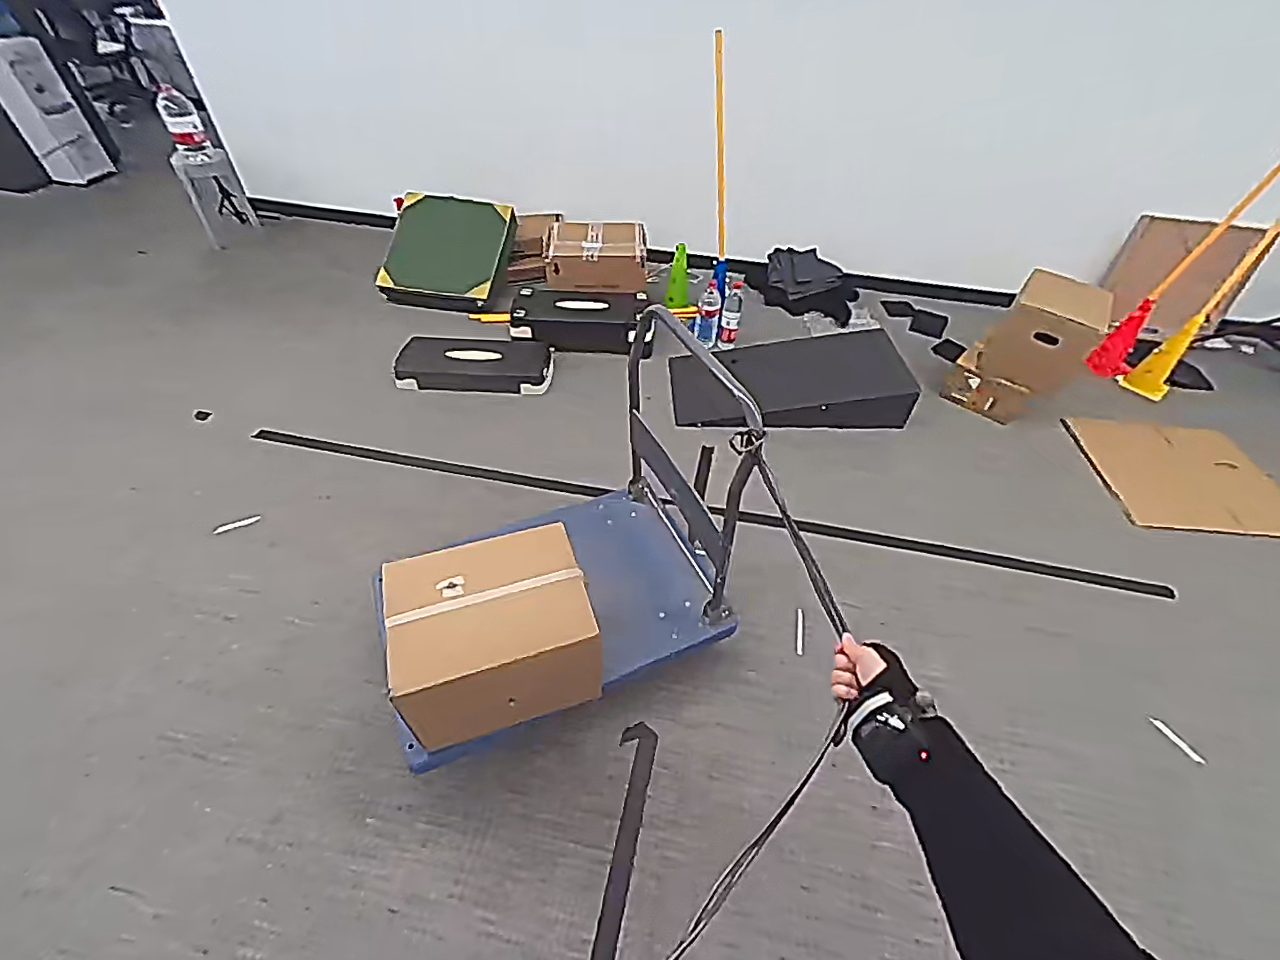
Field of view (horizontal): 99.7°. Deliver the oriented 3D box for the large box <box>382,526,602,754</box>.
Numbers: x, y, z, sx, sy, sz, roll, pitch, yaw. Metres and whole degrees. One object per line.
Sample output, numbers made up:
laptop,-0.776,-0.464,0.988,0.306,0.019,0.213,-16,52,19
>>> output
large box,-0.322,0.359,1.232,0.408,0.320,0.320,-14,48,-15
